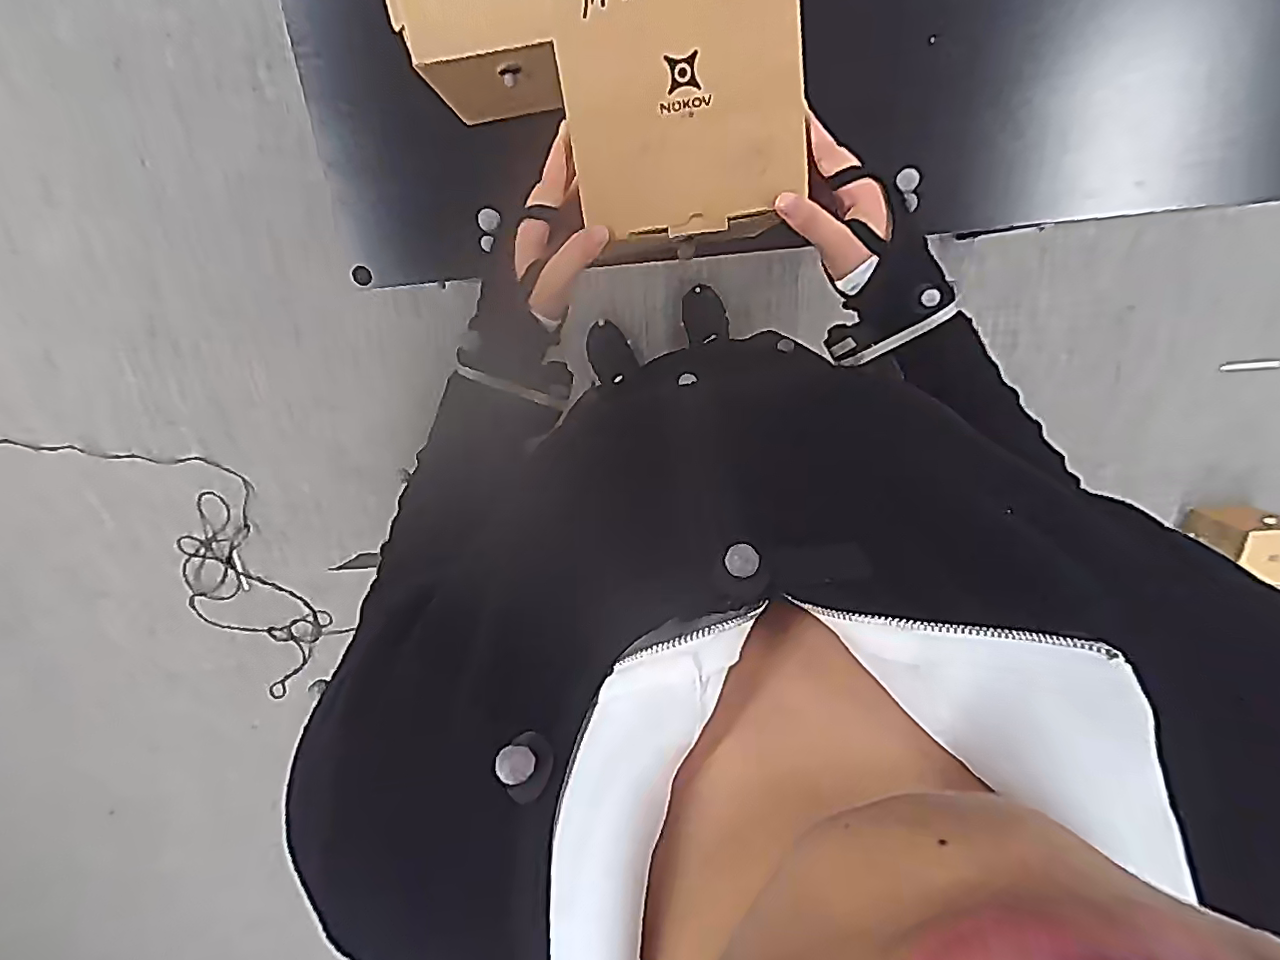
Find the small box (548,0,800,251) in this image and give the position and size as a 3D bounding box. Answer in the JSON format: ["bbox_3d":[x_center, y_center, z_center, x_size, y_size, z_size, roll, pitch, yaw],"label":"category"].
[{"bbox_3d":[0.028,-0.296,0.455,0.168,0.176,0.179,-9,109,2],"label":"small box"}]

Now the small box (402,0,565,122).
[{"bbox_3d":[-0.123,-0.473,0.522,0.179,0.176,0.168,-10,109,2],"label":"small box"}]
